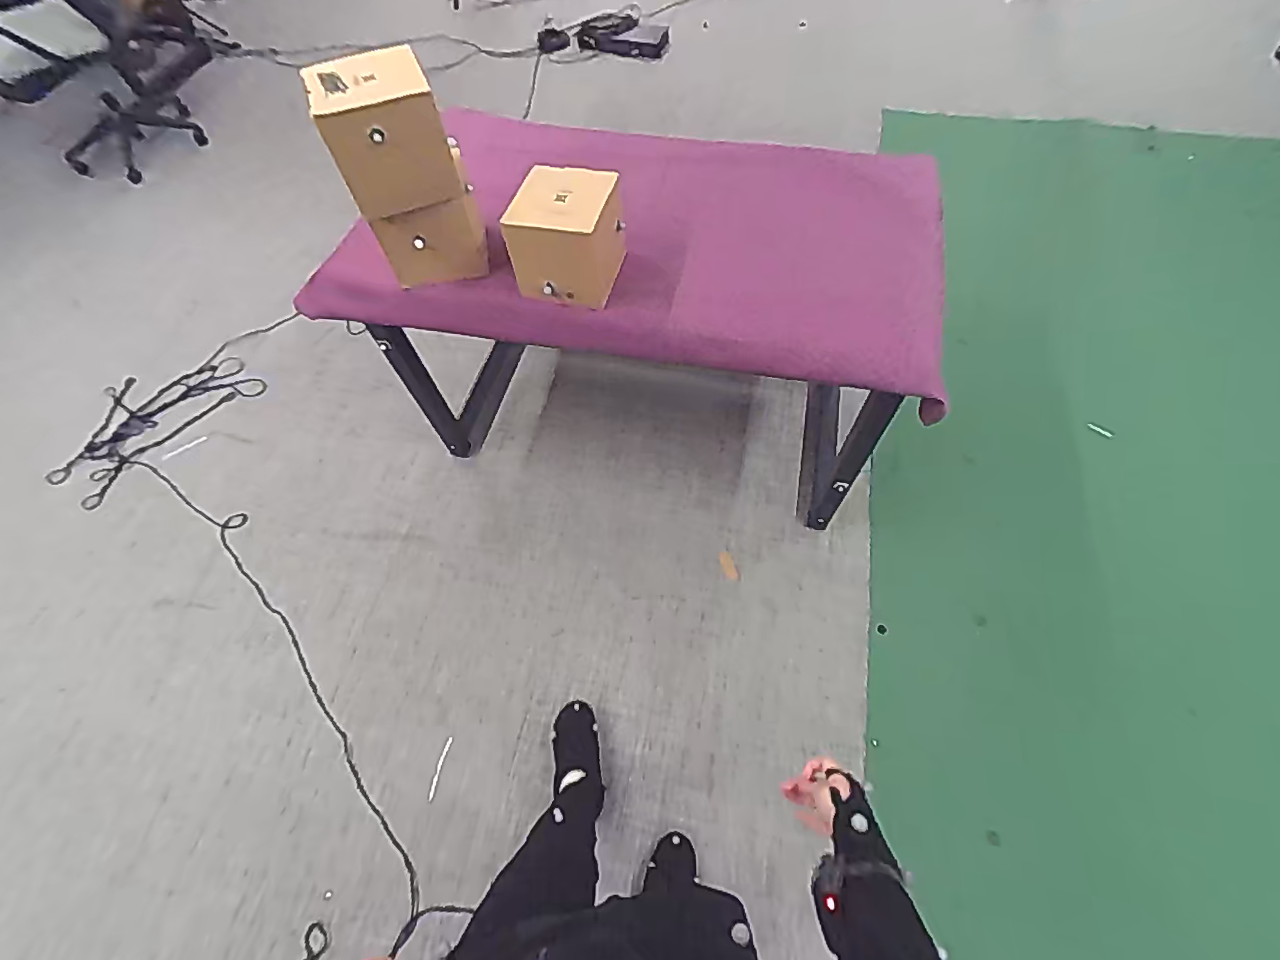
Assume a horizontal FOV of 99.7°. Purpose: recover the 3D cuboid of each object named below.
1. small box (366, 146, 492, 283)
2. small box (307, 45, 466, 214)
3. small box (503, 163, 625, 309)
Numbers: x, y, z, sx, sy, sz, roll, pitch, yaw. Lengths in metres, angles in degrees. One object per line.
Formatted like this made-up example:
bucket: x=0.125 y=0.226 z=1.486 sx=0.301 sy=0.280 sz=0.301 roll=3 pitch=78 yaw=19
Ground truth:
small box: x=-0.400 y=-0.506 z=1.047 sx=0.179 sy=0.176 sz=0.168 roll=-11 pitch=61 yaw=-3
small box: x=-0.412 y=-0.574 z=0.896 sx=0.179 sy=0.176 sz=0.168 roll=-21 pitch=62 yaw=-10
small box: x=-0.128 y=-0.451 z=1.004 sx=0.168 sy=0.176 sz=0.179 roll=12 pitch=61 yaw=10
